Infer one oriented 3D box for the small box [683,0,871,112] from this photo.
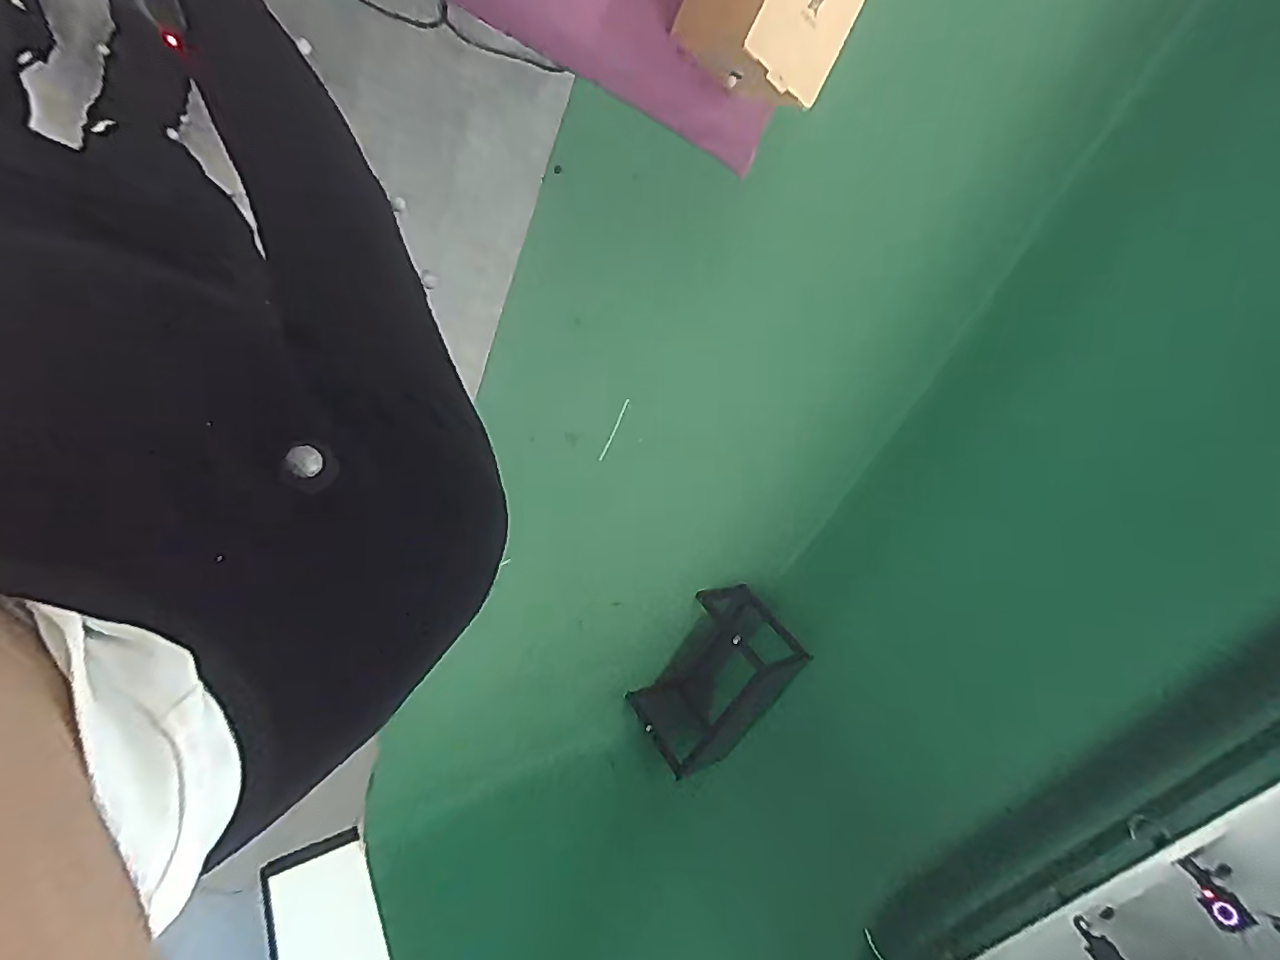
[{"bbox_3d":[0.186,-0.661,0.752,0.168,0.176,0.179,4,124,-44],"label":"small box"}]
